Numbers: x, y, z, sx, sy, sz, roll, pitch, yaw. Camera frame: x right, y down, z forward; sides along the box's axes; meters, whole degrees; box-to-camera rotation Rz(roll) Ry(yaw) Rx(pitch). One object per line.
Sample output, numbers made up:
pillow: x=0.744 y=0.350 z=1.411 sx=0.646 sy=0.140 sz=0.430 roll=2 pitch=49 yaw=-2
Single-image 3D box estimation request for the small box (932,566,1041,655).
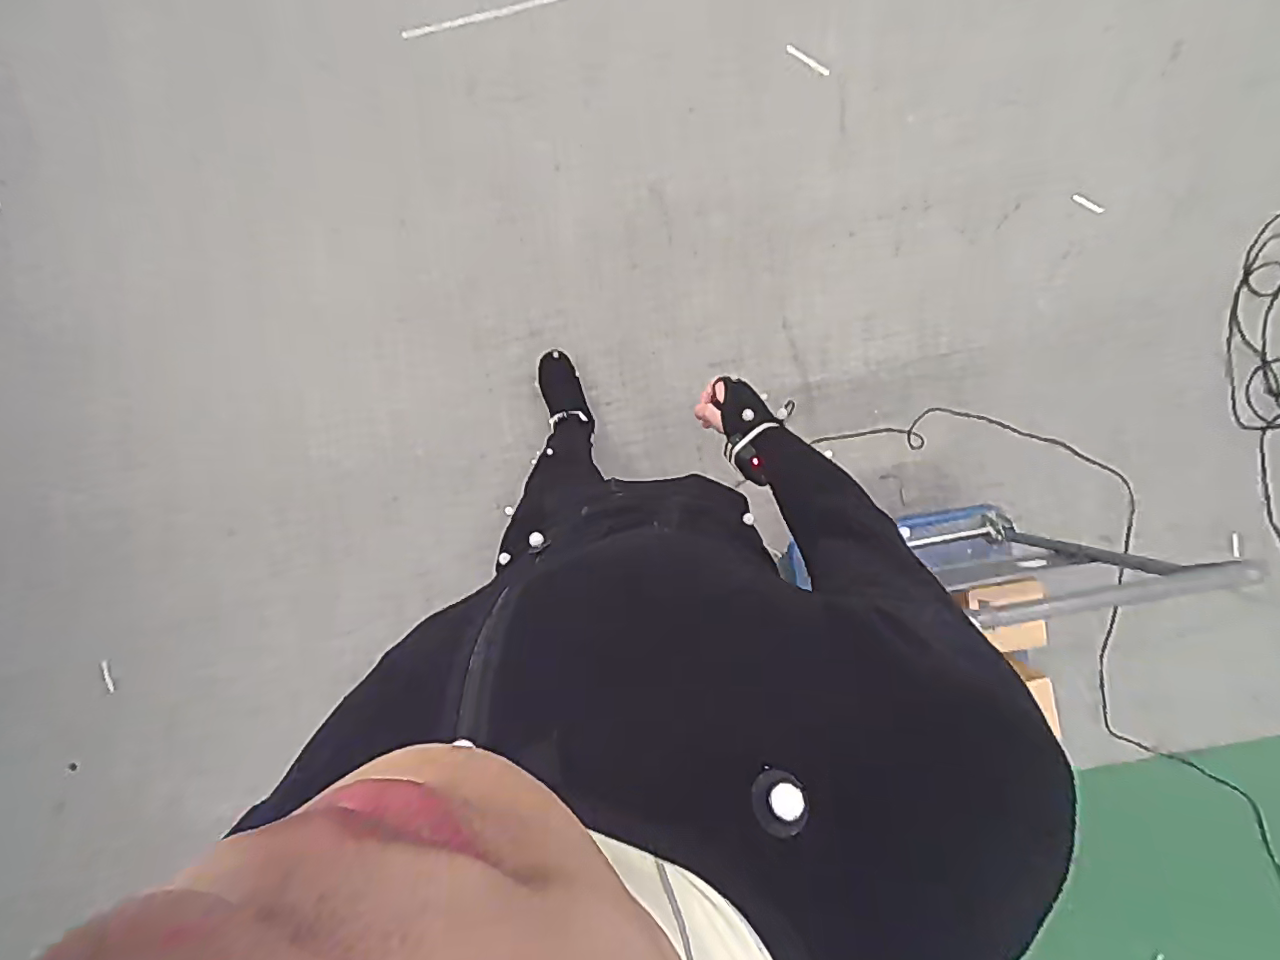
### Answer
small box: x=0.861 y=0.323 z=1.364 sx=0.179 sy=0.176 sz=0.168 roll=-8 pitch=95 yaw=1
